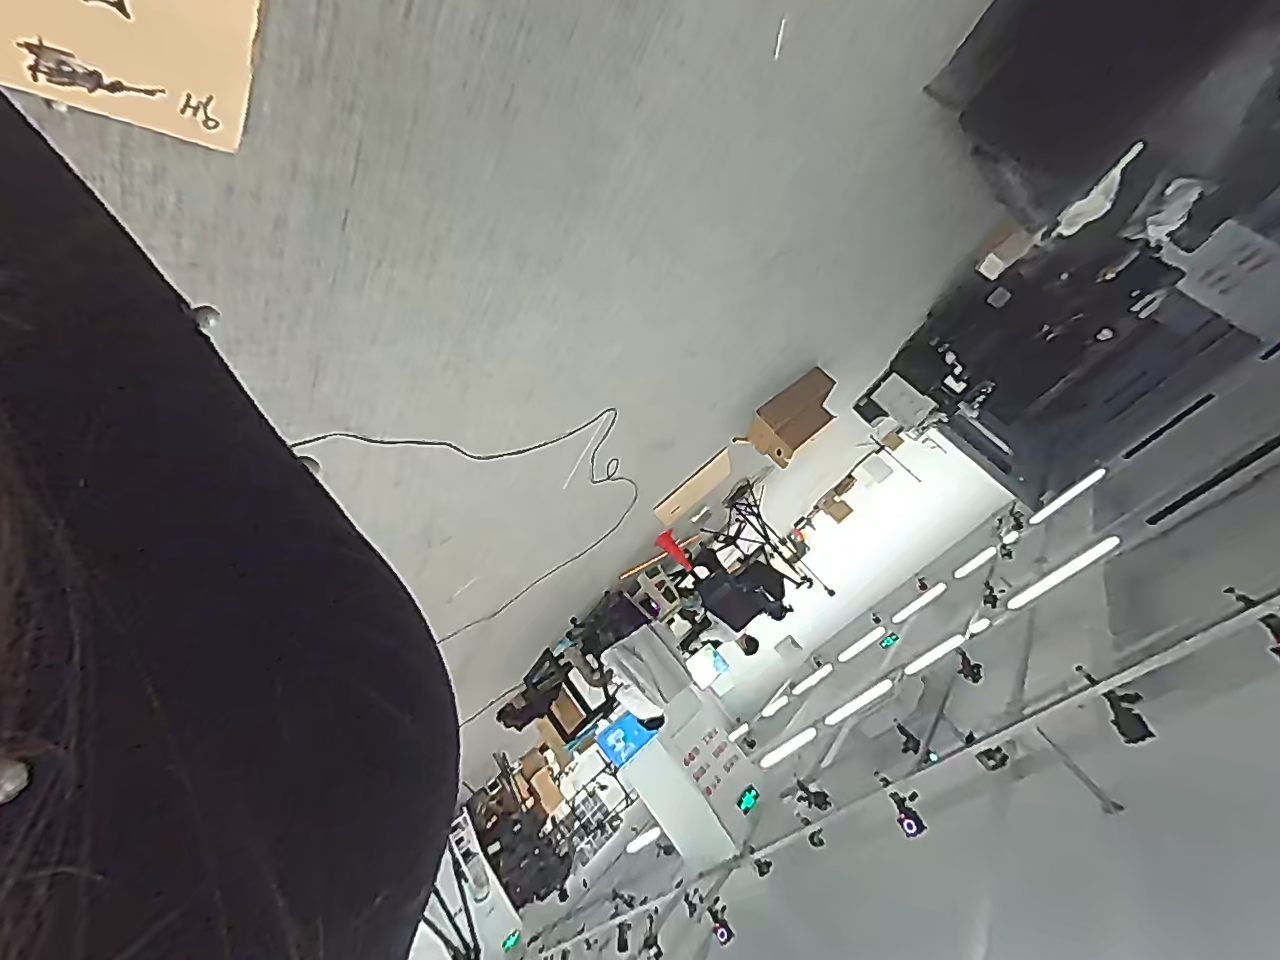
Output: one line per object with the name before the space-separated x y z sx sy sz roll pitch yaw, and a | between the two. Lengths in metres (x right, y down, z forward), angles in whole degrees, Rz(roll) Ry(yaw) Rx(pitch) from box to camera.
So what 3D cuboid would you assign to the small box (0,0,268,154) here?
small box | -0.384 -0.373 0.366 0.168 0.176 0.179 -14 144 -54
